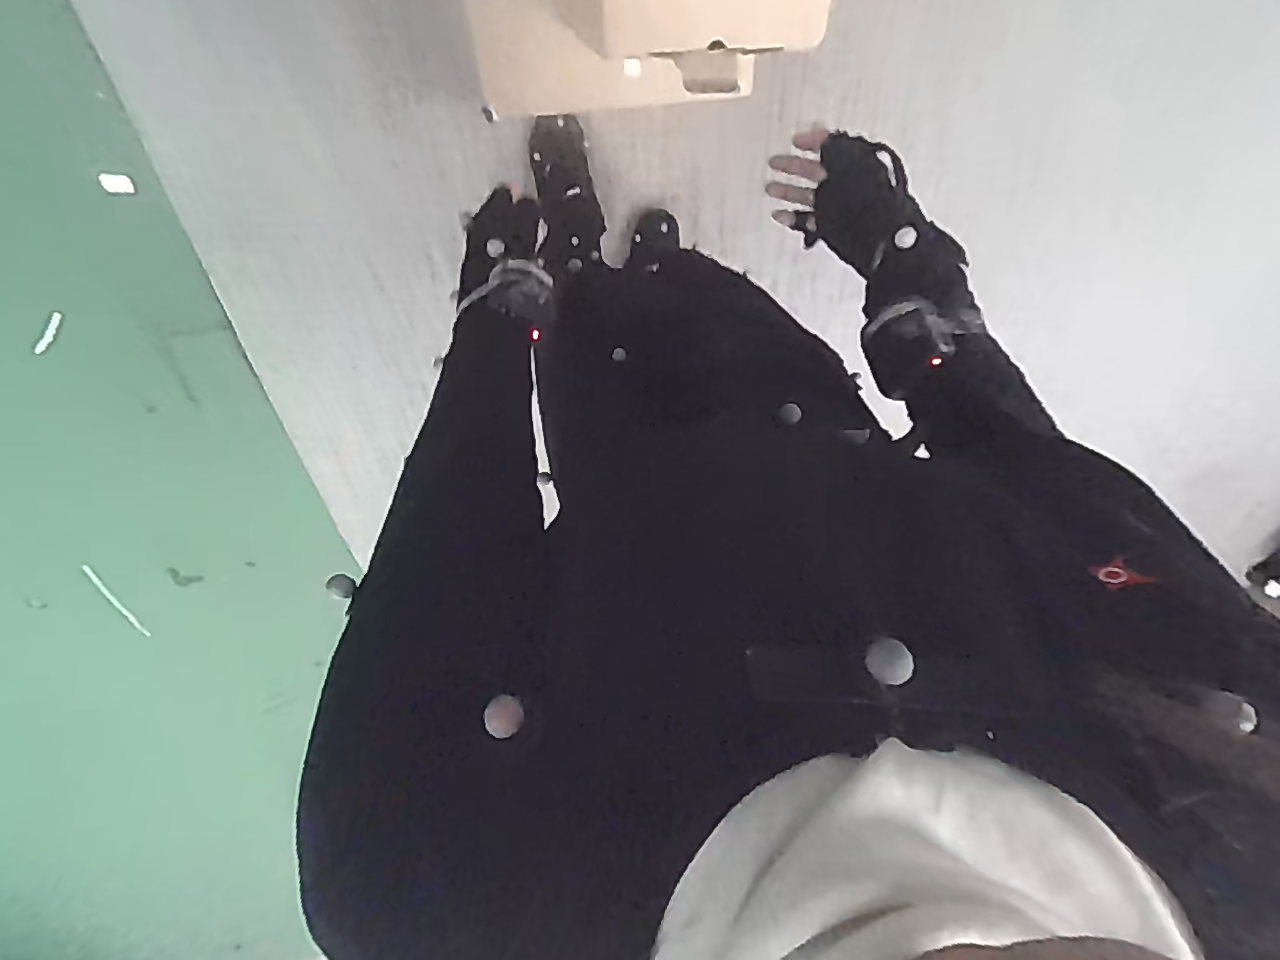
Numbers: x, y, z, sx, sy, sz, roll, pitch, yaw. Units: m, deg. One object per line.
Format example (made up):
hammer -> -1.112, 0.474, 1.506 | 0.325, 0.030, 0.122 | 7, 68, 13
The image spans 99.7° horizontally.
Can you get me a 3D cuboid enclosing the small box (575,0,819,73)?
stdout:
small box -> 0.035, -0.427, 0.402 | 0.168, 0.176, 0.179 | -8, 135, -7
